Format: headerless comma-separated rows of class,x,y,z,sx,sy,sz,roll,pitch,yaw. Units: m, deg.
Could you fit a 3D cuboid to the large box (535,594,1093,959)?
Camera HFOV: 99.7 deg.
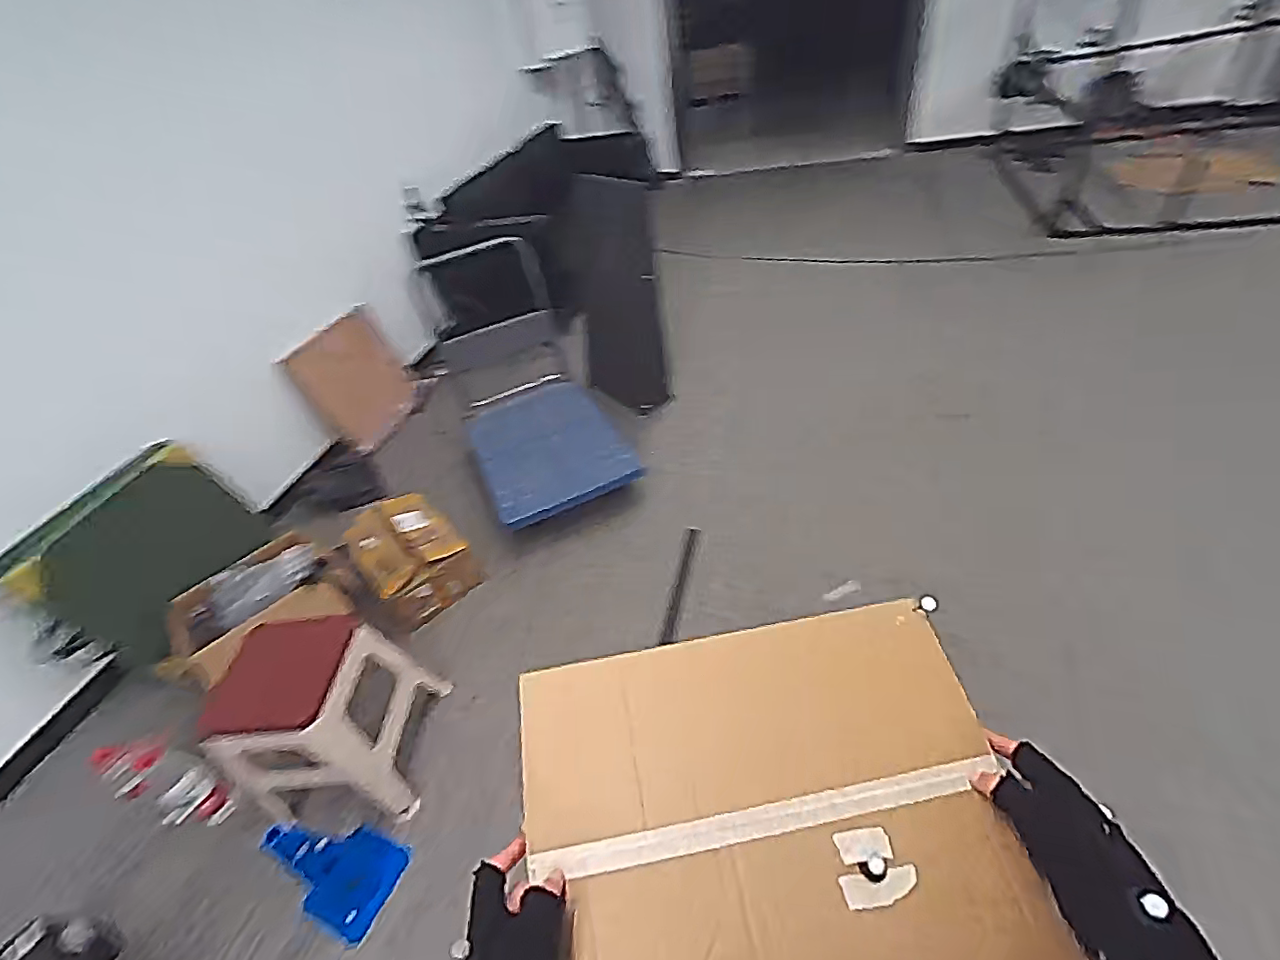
large box,0.122,0.359,0.587,0.408,0.320,0.320,-10,57,-2
